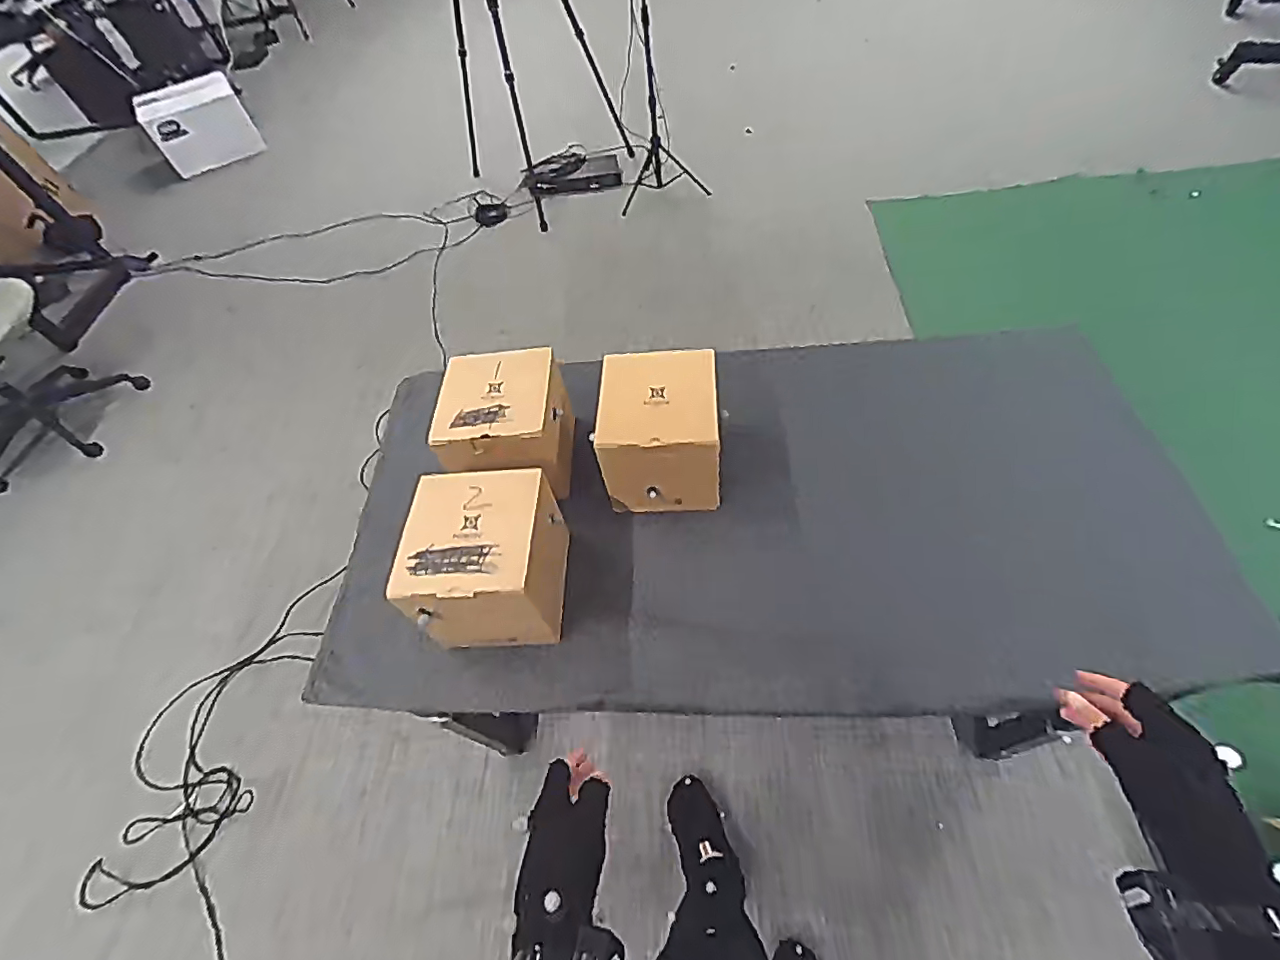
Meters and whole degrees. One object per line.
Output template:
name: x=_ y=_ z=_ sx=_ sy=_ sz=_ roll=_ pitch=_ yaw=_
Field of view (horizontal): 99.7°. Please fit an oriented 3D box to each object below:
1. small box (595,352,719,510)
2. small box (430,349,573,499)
small box: x=0.032 y=-0.071 z=0.821 sx=0.168 sy=0.176 sz=0.179 roll=-2 pitch=56 yaw=6
small box: x=-0.205 y=-0.080 z=0.858 sx=0.168 sy=0.176 sz=0.179 roll=-4 pitch=55 yaw=5
